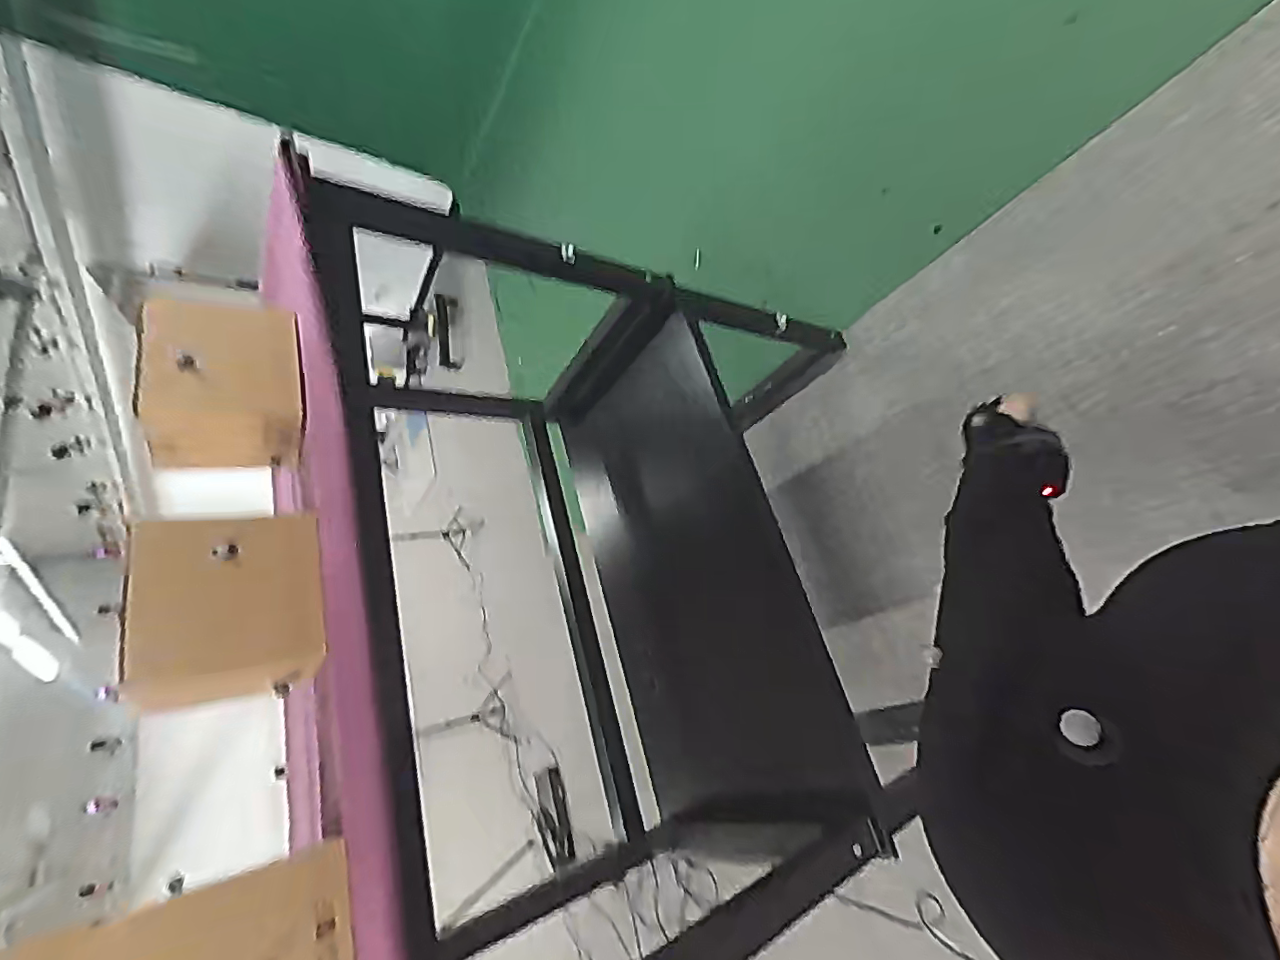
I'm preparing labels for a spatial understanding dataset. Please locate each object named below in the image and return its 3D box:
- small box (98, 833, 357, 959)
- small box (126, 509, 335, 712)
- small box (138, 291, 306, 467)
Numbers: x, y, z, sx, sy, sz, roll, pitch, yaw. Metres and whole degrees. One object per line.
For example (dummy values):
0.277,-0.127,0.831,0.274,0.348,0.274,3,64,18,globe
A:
-0.354,0.433,0.476,0.179,0.176,0.168,-42,57,43,small box
-0.464,0.144,0.623,0.168,0.176,0.179,-41,60,44,small box
-0.572,-0.131,0.755,0.168,0.176,0.179,-39,60,47,small box
